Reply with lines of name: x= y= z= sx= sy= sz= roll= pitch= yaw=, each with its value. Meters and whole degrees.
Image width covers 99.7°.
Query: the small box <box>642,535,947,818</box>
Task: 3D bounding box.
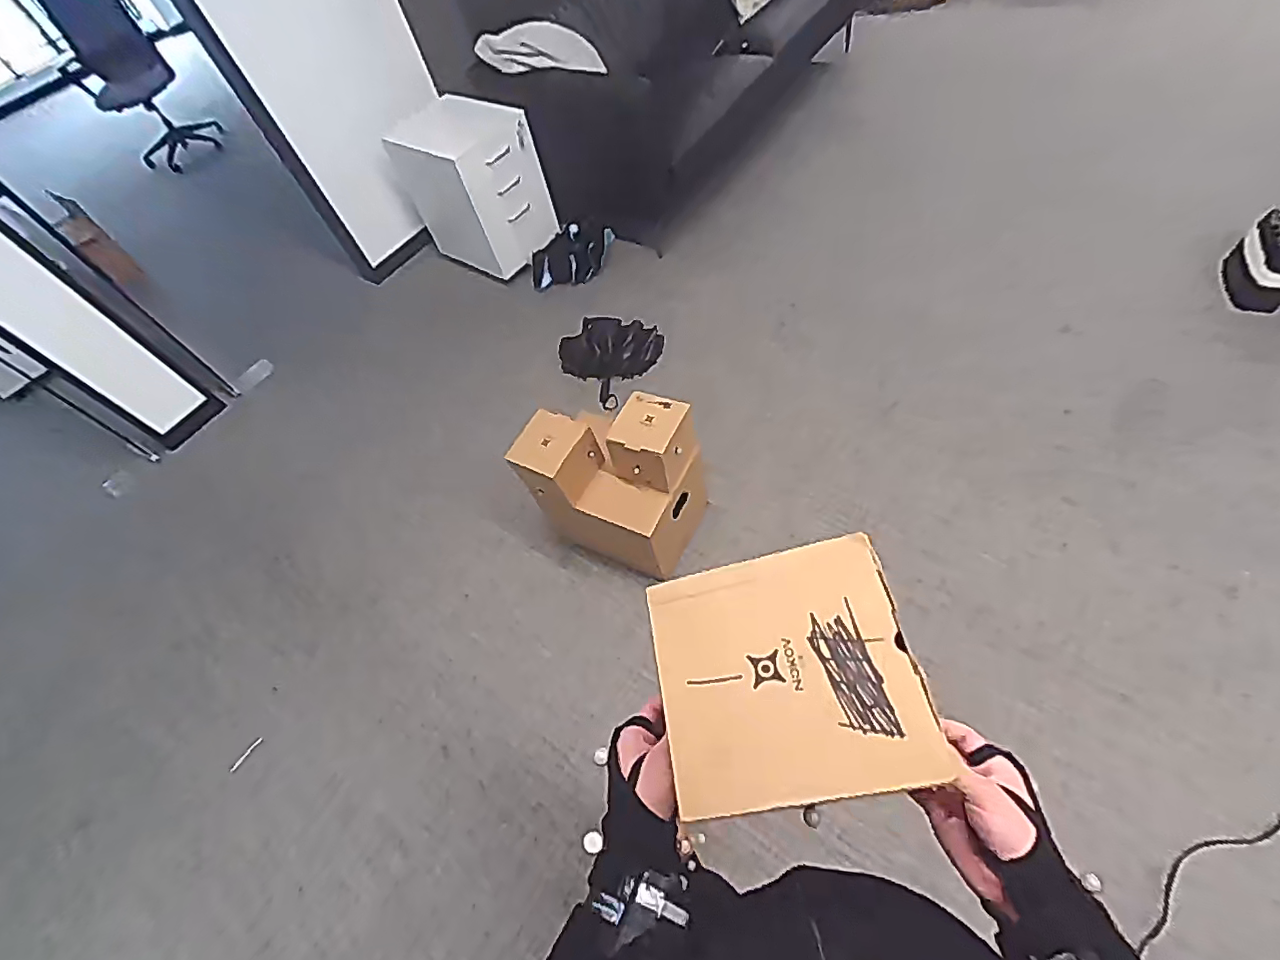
small box: x=0.117 y=0.168 z=0.445 sx=0.179 sy=0.176 sz=0.168 roll=-16 pitch=57 yaw=12

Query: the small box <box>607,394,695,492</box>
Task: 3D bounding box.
small box: x=0.038 y=-0.095 z=1.437 sx=0.168 sy=0.176 sz=0.179 roll=18 pitch=61 yaw=22

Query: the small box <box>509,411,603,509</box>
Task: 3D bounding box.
small box: x=-0.217 y=-0.052 z=1.468 sx=0.168 sy=0.176 sz=0.179 roll=20 pitch=67 yaw=25
